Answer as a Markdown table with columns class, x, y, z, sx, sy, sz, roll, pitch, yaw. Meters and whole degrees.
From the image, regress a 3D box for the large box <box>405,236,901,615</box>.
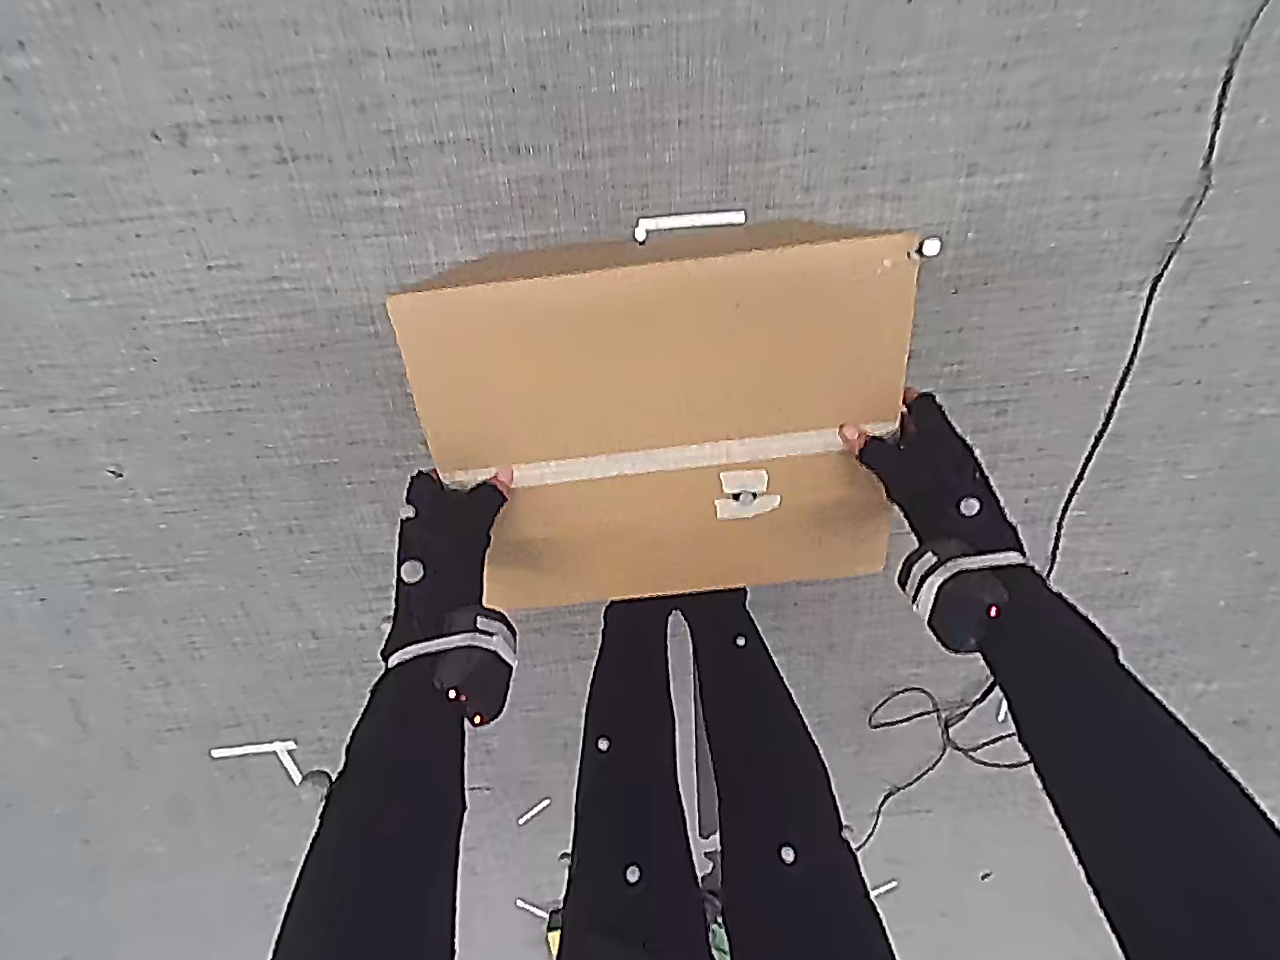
| class | x | y | z | sx | sy | sz | roll | pitch | yaw |
| --- | --- | --- | --- | --- | --- | --- | --- | --- | --- |
| large box | 0.019 | -0.086 | 0.623 | 0.408 | 0.320 | 0.320 | -7 | 117 | 1 |
